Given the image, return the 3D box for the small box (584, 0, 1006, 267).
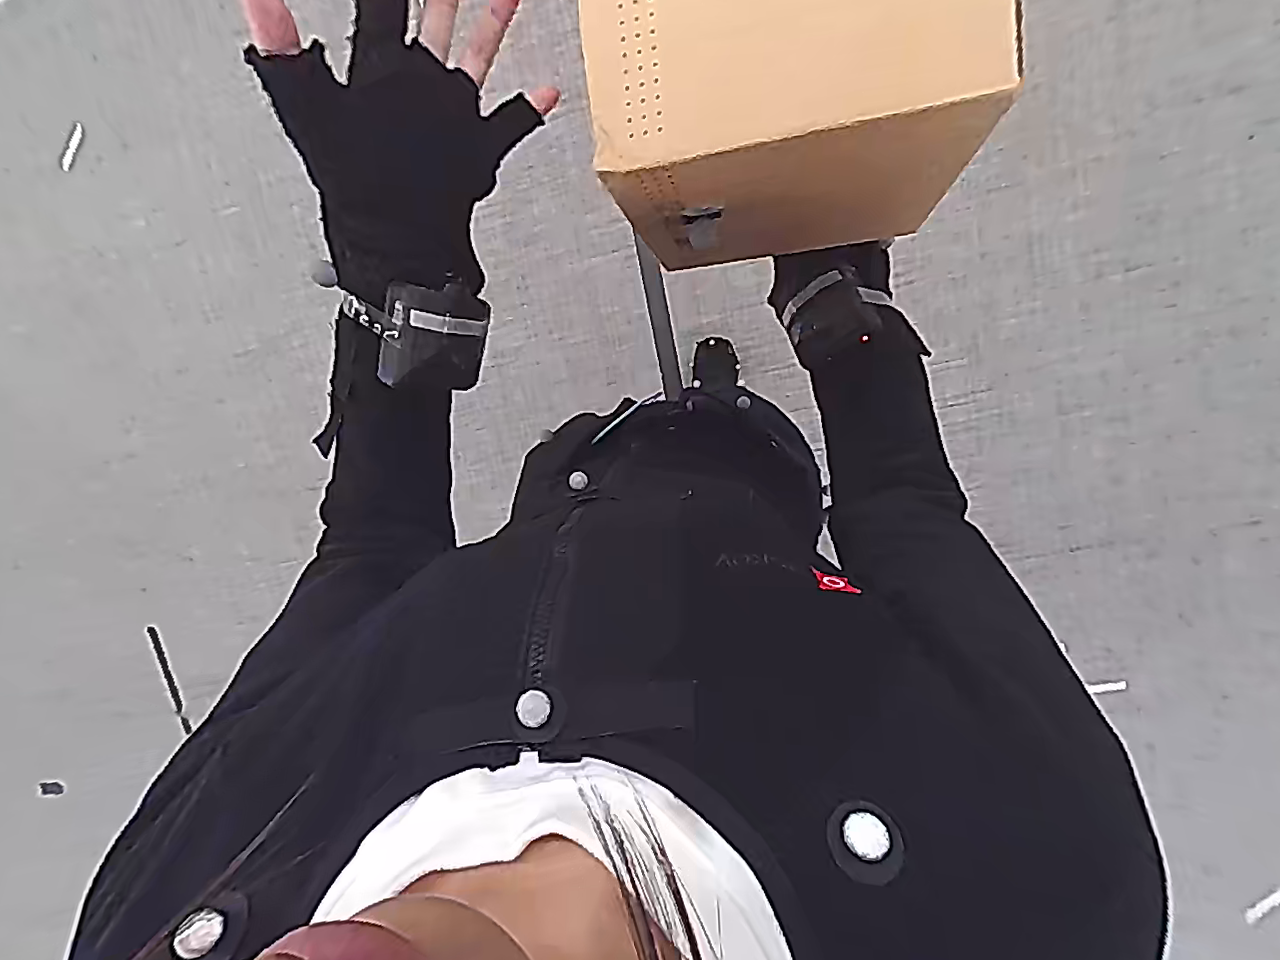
[{"bbox_3d":[0.069,-0.236,0.296,0.176,0.168,0.179,-3,95,15],"label":"small box"}]
